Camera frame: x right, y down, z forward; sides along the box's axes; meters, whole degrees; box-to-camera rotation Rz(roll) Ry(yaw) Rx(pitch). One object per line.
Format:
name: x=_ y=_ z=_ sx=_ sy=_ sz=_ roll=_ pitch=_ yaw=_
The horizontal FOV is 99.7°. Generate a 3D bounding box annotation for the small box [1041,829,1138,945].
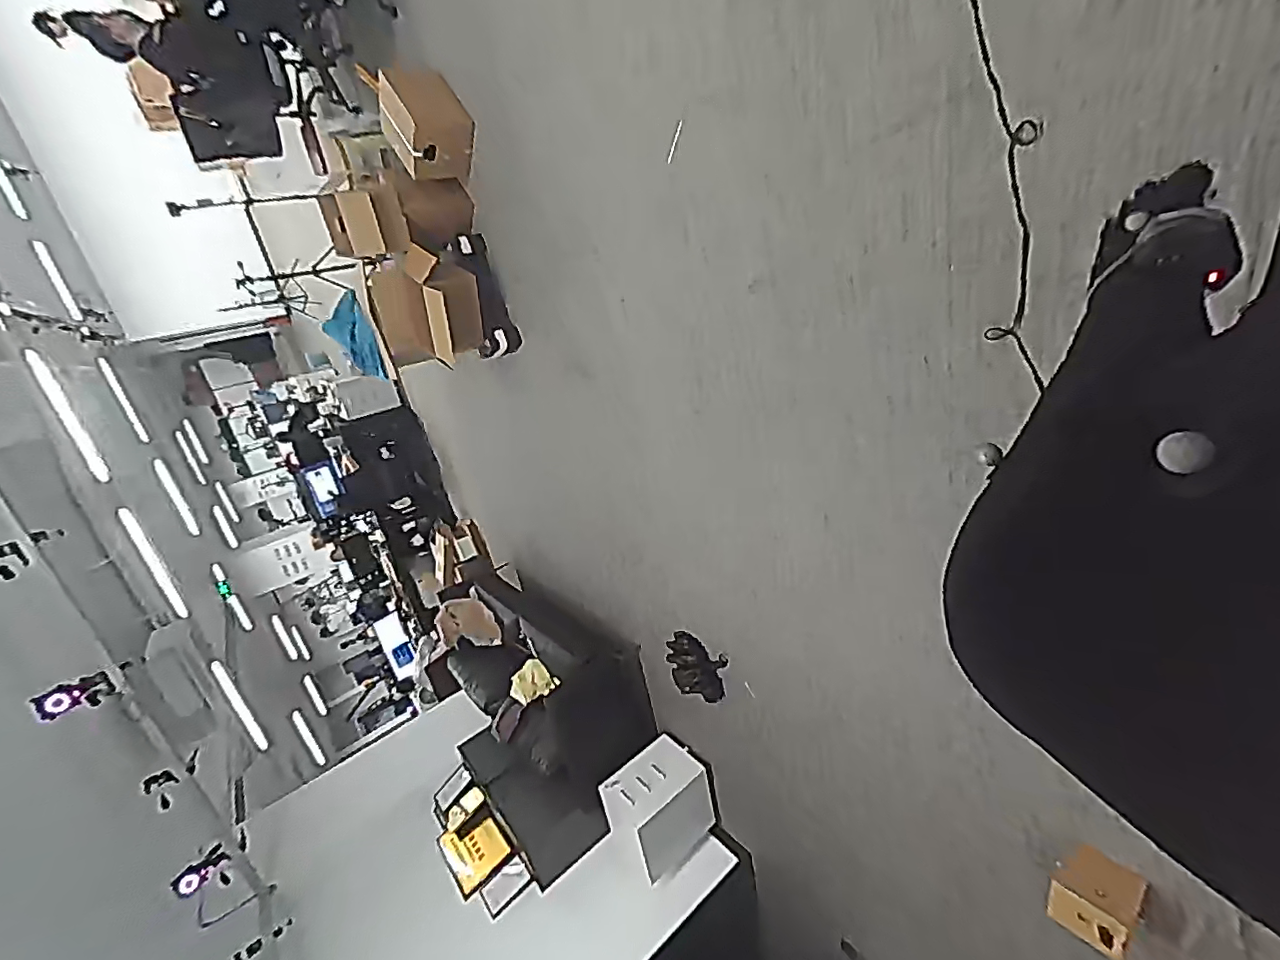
small box: x=1.313 y=1.177 z=1.578 sx=0.179 sy=0.176 sz=0.168 roll=19 pitch=127 yaw=51
